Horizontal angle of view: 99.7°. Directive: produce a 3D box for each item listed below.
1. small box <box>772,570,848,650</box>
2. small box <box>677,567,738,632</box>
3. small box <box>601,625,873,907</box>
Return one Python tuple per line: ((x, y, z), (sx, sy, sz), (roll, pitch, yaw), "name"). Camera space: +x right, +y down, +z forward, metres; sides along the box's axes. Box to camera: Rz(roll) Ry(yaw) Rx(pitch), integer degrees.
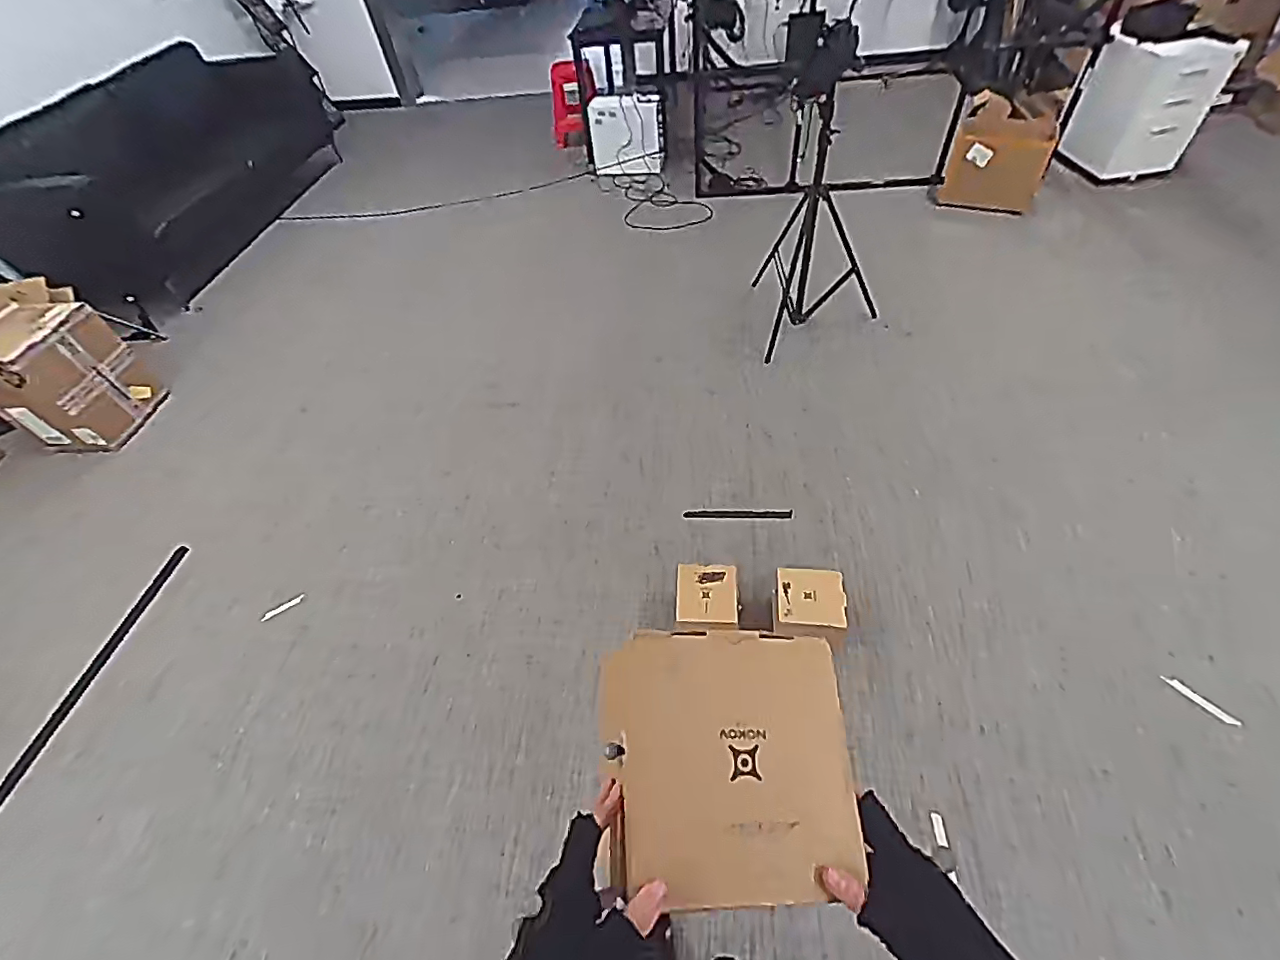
((0.466, 0.370, 1.506), (0.179, 0.176, 0.168), (3, 51, 9), "small box")
((0.192, 0.366, 1.542), (0.168, 0.176, 0.179), (0, 51, 8), "small box")
((0.061, 0.233, 0.455), (0.168, 0.176, 0.179), (6, 61, -9), "small box")
